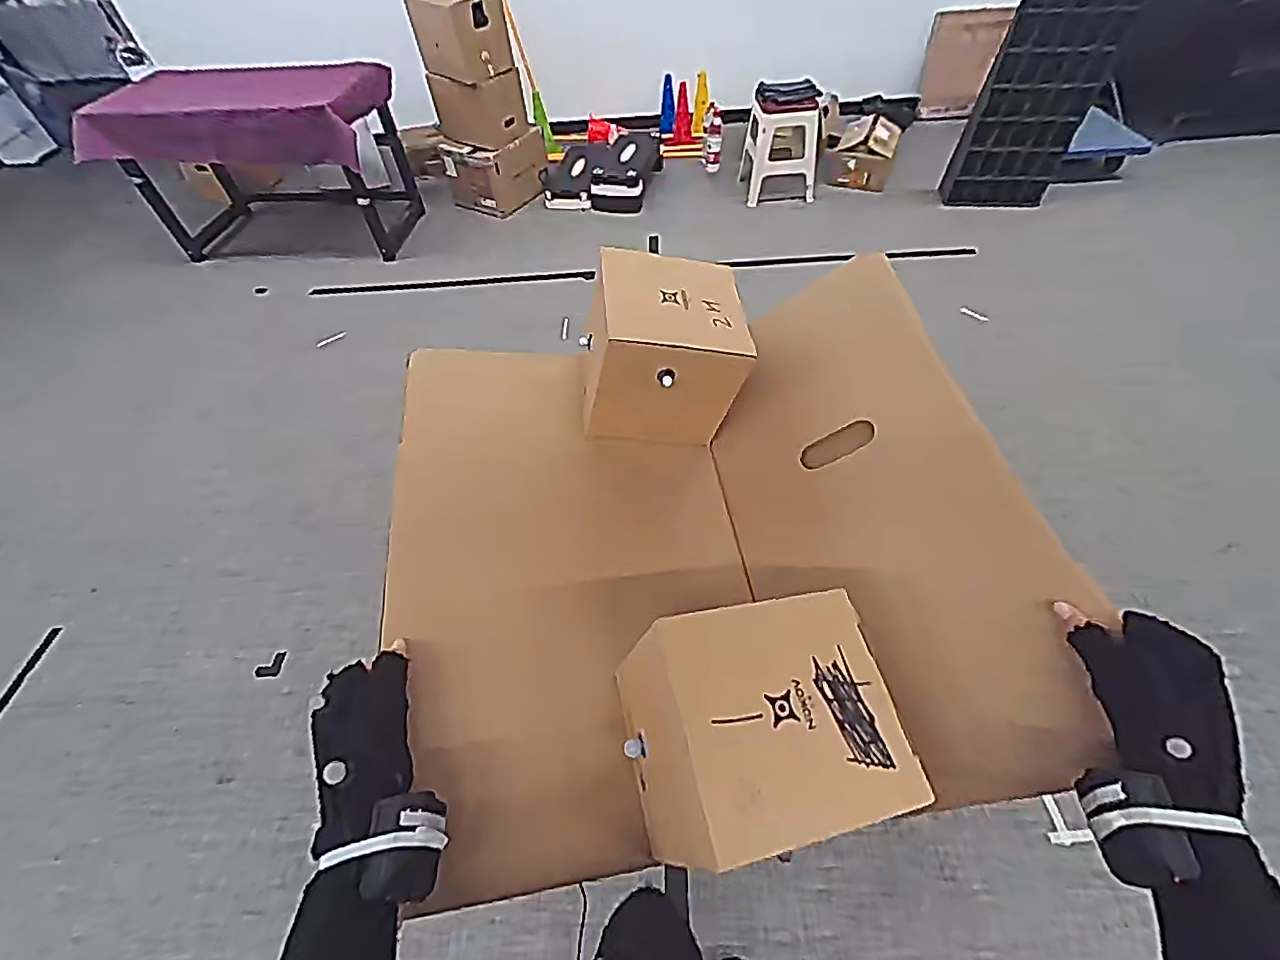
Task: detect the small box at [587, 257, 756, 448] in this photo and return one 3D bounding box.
[{"bbox_3d":[0.026,-0.156,0.701,0.179,0.176,0.168,4,56,-14],"label":"small box"}]
